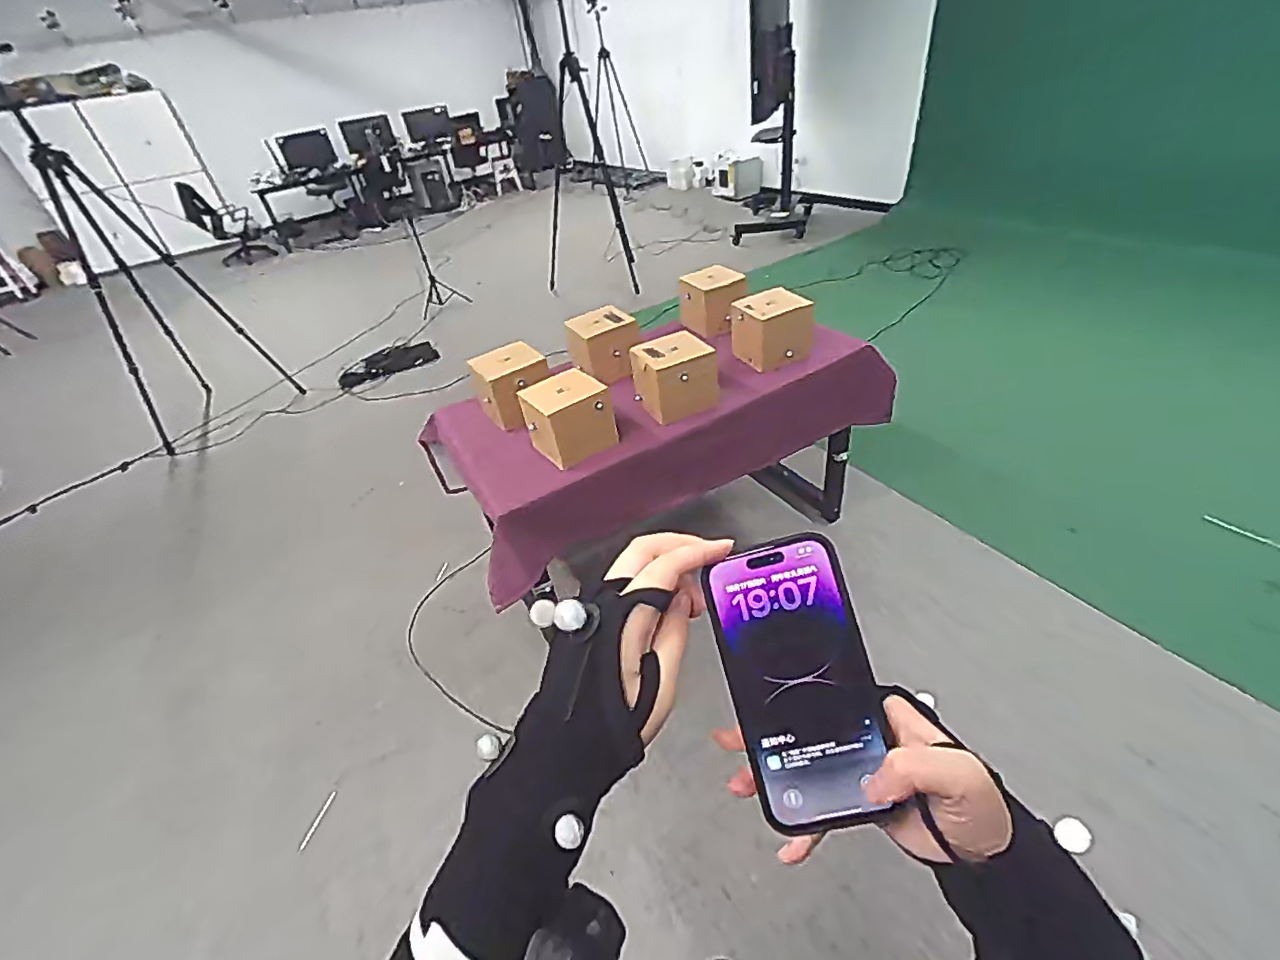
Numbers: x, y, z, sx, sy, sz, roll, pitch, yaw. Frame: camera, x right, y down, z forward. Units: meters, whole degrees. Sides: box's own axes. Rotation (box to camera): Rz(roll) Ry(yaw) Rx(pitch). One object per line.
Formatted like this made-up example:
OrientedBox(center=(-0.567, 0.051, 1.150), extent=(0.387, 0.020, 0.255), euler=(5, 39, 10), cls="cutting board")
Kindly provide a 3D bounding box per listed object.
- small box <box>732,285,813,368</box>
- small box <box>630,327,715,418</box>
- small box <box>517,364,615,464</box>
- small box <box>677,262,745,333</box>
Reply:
OrientedBox(center=(0.388, -0.459, 1.614), extent=(0.179, 0.176, 0.168), euler=(-21, 40, -14), cls="small box")
OrientedBox(center=(0.091, -0.290, 1.469), extent=(0.179, 0.176, 0.168), euler=(-21, 40, -15), cls="small box")
OrientedBox(center=(-0.182, -0.167, 1.377), extent=(0.179, 0.176, 0.168), euler=(-29, 43, -24), cls="small box")
OrientedBox(center=(0.241, -0.621, 1.840), extent=(0.168, 0.176, 0.179), euler=(-24, 42, -16), cls="small box")
